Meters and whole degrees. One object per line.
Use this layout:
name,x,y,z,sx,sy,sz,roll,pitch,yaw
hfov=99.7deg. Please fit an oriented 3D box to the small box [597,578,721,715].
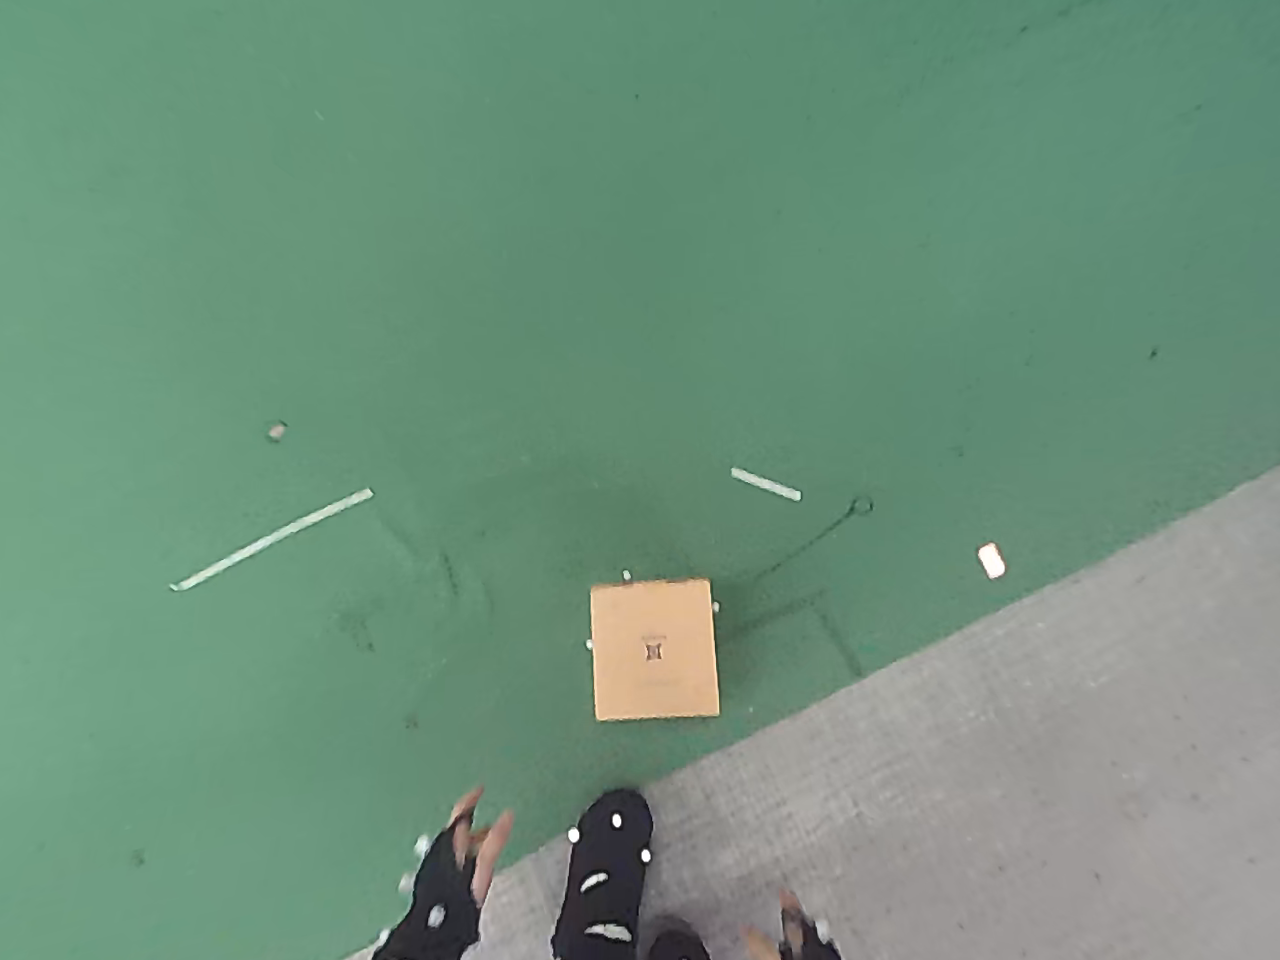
small box,0.028,0.238,0.809,0.168,0.176,0.179,-3,81,3
